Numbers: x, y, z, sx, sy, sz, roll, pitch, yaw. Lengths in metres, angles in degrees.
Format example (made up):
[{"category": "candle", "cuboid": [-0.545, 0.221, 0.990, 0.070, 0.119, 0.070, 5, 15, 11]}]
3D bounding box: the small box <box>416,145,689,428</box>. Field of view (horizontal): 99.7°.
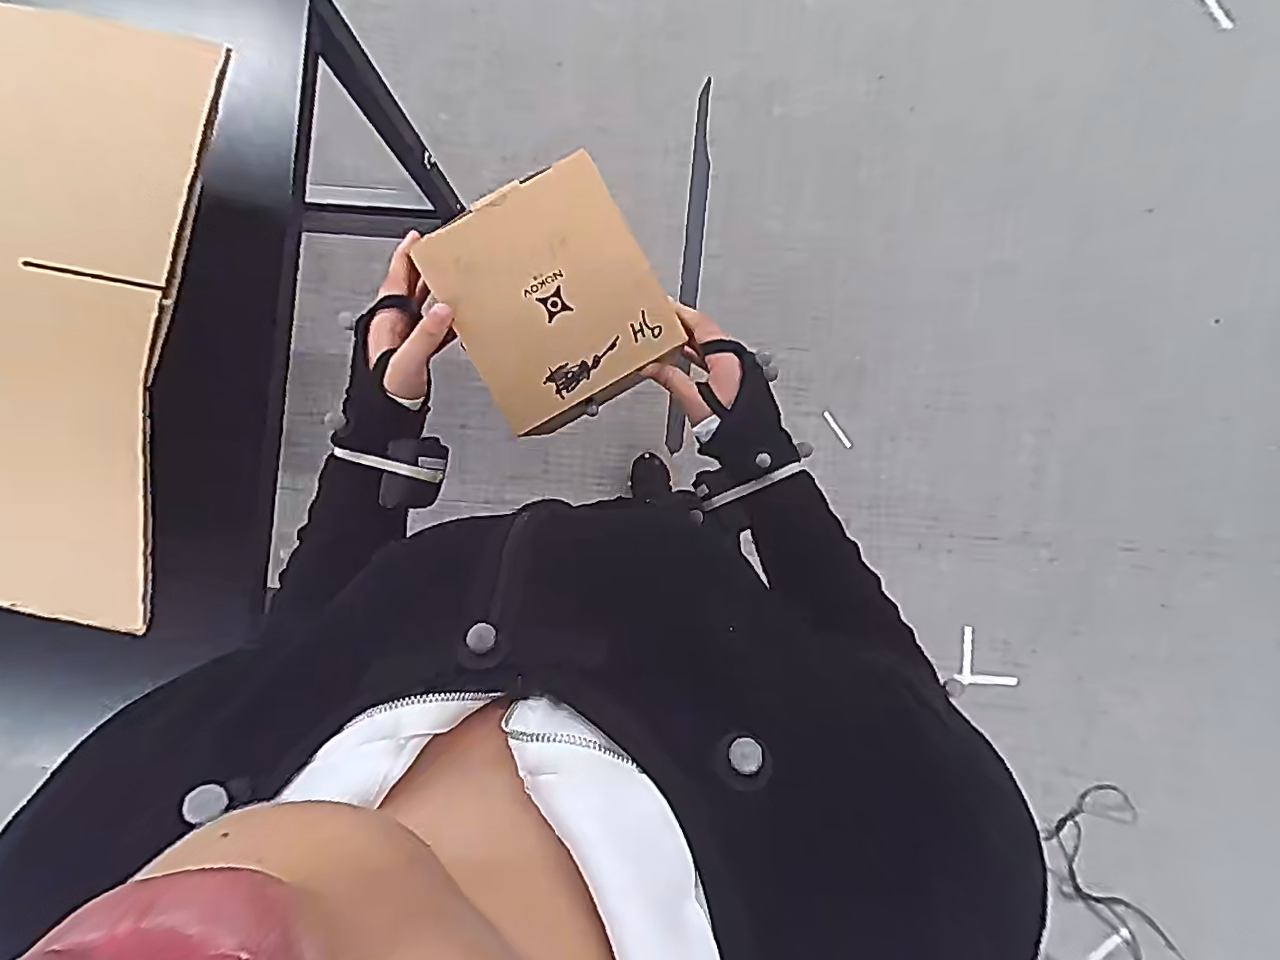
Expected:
[{"category": "small box", "cuboid": [-0.074, -0.161, 0.516, 0.168, 0.176, 0.179, -29, 95, 0]}]
